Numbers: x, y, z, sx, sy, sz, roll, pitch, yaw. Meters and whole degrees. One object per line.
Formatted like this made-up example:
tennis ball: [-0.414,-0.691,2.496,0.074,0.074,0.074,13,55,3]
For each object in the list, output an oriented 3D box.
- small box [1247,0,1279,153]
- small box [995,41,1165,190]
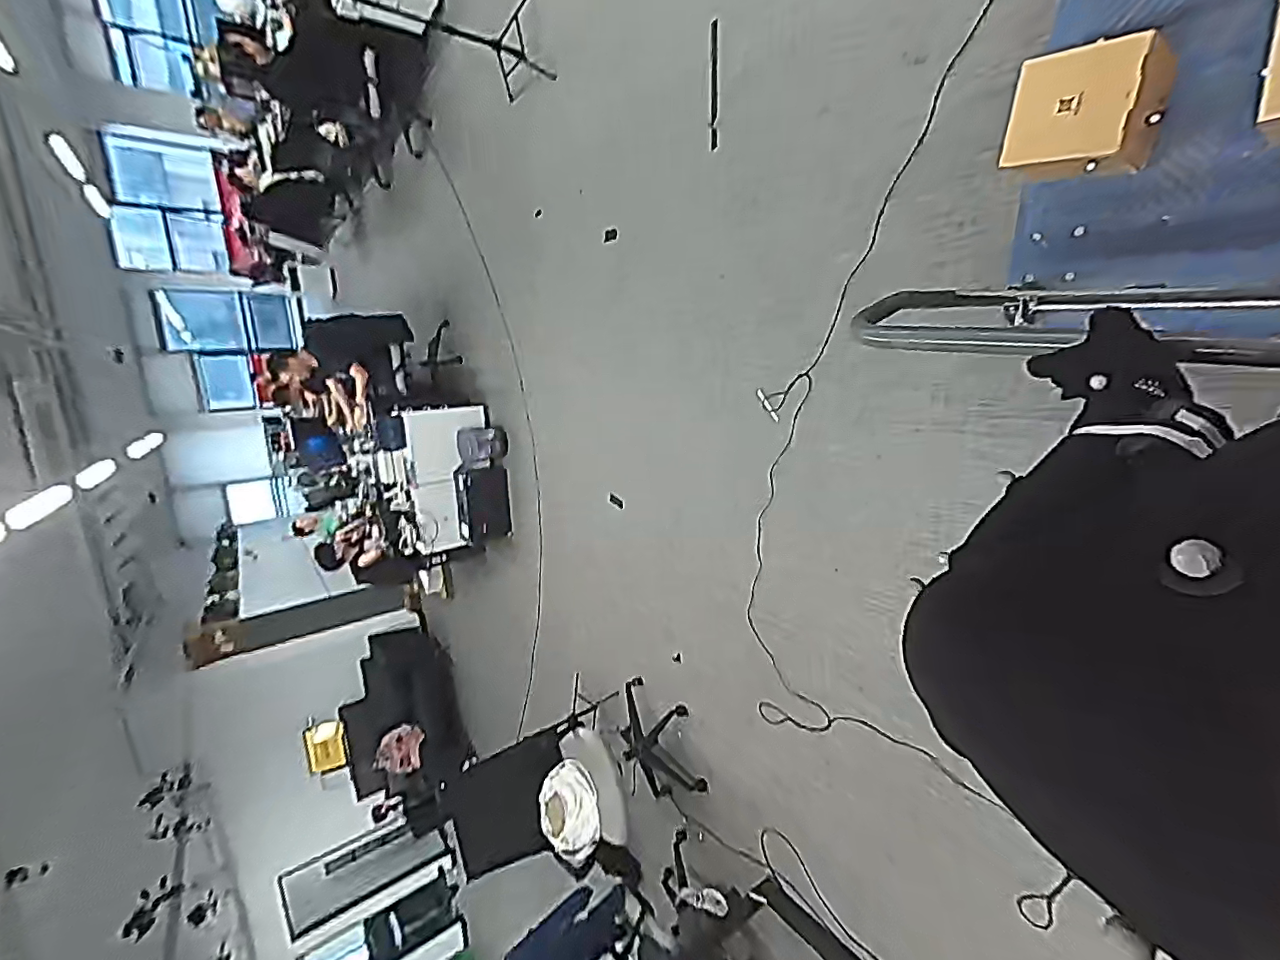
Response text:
small box: [0.959,-0.558,0.713,0.179,0.176,0.168,15,110,51]
small box: [0.770,-0.622,0.951,0.179,0.176,0.168,24,117,46]
